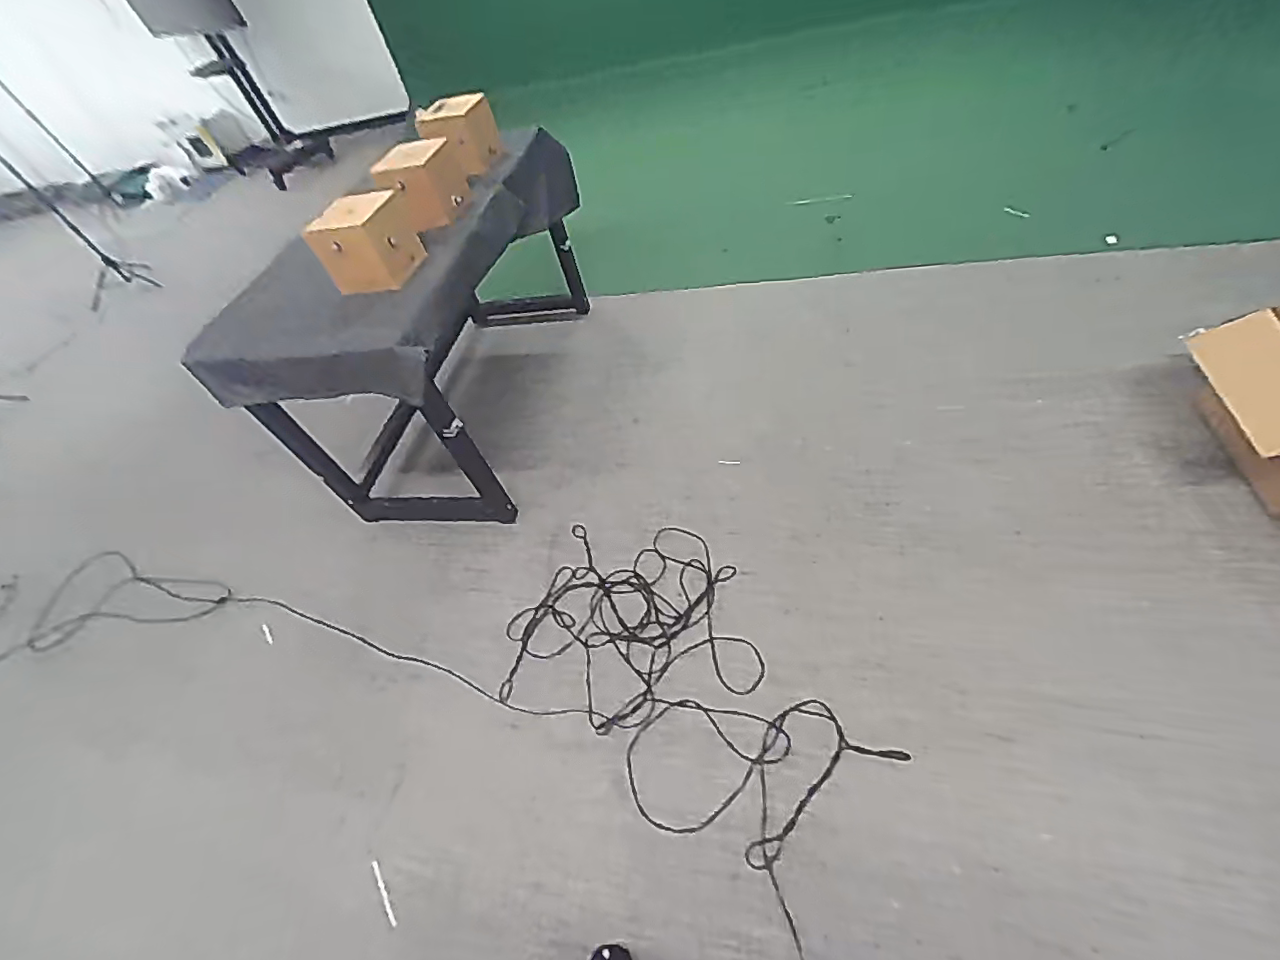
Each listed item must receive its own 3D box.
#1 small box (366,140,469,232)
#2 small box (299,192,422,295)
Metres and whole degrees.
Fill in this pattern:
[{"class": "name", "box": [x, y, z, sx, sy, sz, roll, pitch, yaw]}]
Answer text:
[{"class": "small box", "box": [-0.613, -0.816, 1.512, 0.179, 0.176, 0.168, 2, 53, 15]}, {"class": "small box", "box": [-0.676, -0.577, 1.334, 0.179, 0.176, 0.168, 1, 52, 17]}]
